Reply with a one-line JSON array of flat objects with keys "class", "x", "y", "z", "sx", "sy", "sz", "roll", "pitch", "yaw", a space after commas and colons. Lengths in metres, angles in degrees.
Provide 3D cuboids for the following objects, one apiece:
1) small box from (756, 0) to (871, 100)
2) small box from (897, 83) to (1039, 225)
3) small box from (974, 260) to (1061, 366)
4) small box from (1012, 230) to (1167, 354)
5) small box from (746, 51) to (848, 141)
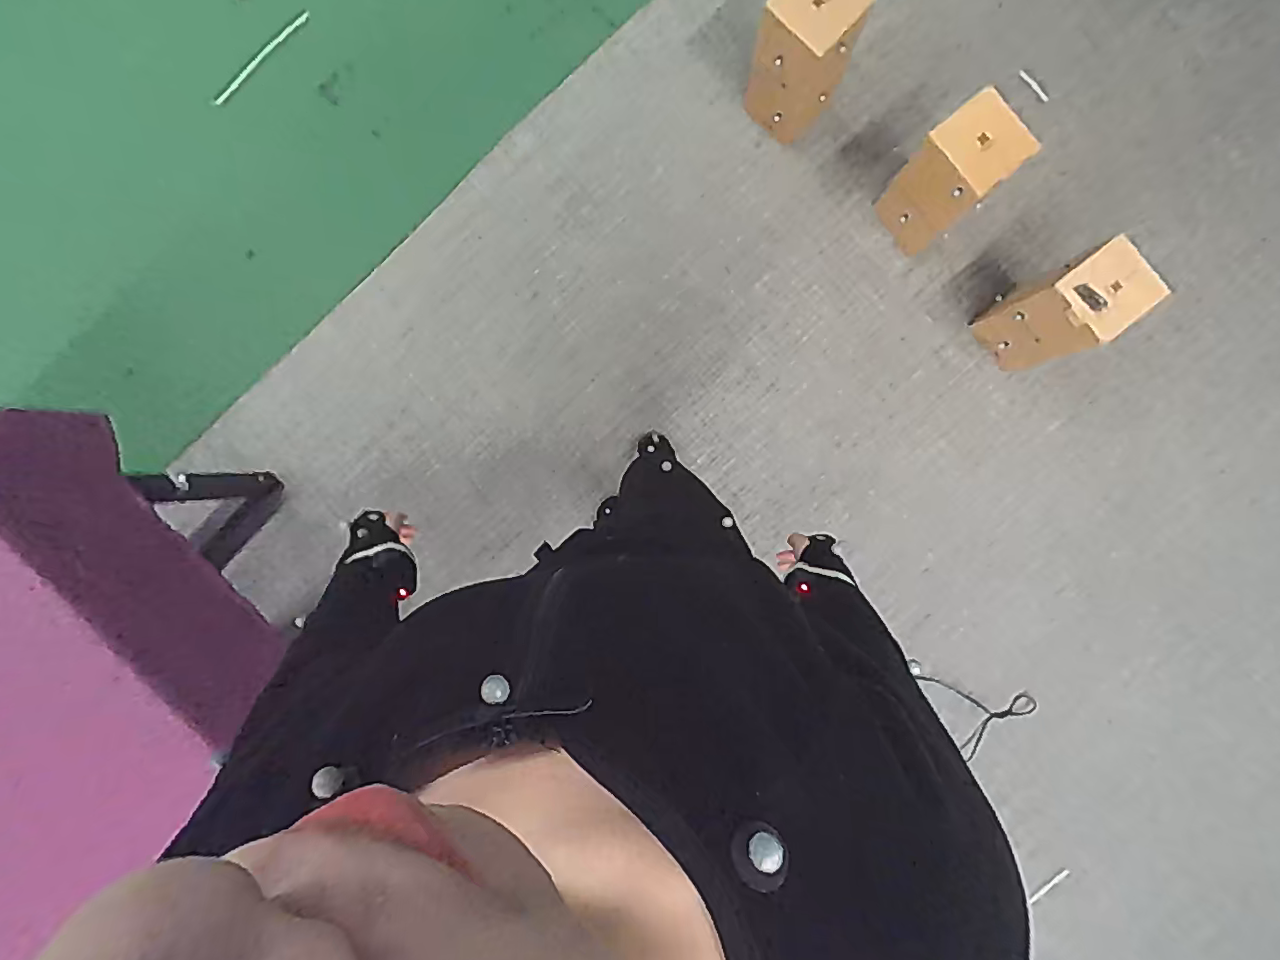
[{"class": "small box", "x": 0.380, "y": -1.017, "z": 1.217, "sx": 0.168, "sy": 0.176, "sz": 0.179, "roll": 45, "pitch": 92, "yaw": 0}, {"class": "small box", "x": 0.719, "y": -0.716, "z": 1.210, "sx": 0.168, "sy": 0.176, "sz": 0.179, "roll": -39, "pitch": 89, "yaw": 2}, {"class": "small box", "x": 0.991, "y": -0.411, "z": 1.369, "sx": 0.179, "sy": 0.176, "sz": 0.168, "roll": -40, "pitch": 90, "yaw": 3}, {"class": "small box", "x": 0.980, "y": -0.406, "z": 1.204, "sx": 0.179, "sy": 0.176, "sz": 0.168, "roll": -39, "pitch": 90, "yaw": 2}, {"class": "small box", "x": 0.390, "y": -1.022, "z": 1.381, "sx": 0.179, "sy": 0.176, "sz": 0.168, "roll": -44, "pitch": 90, "yaw": 2}]
